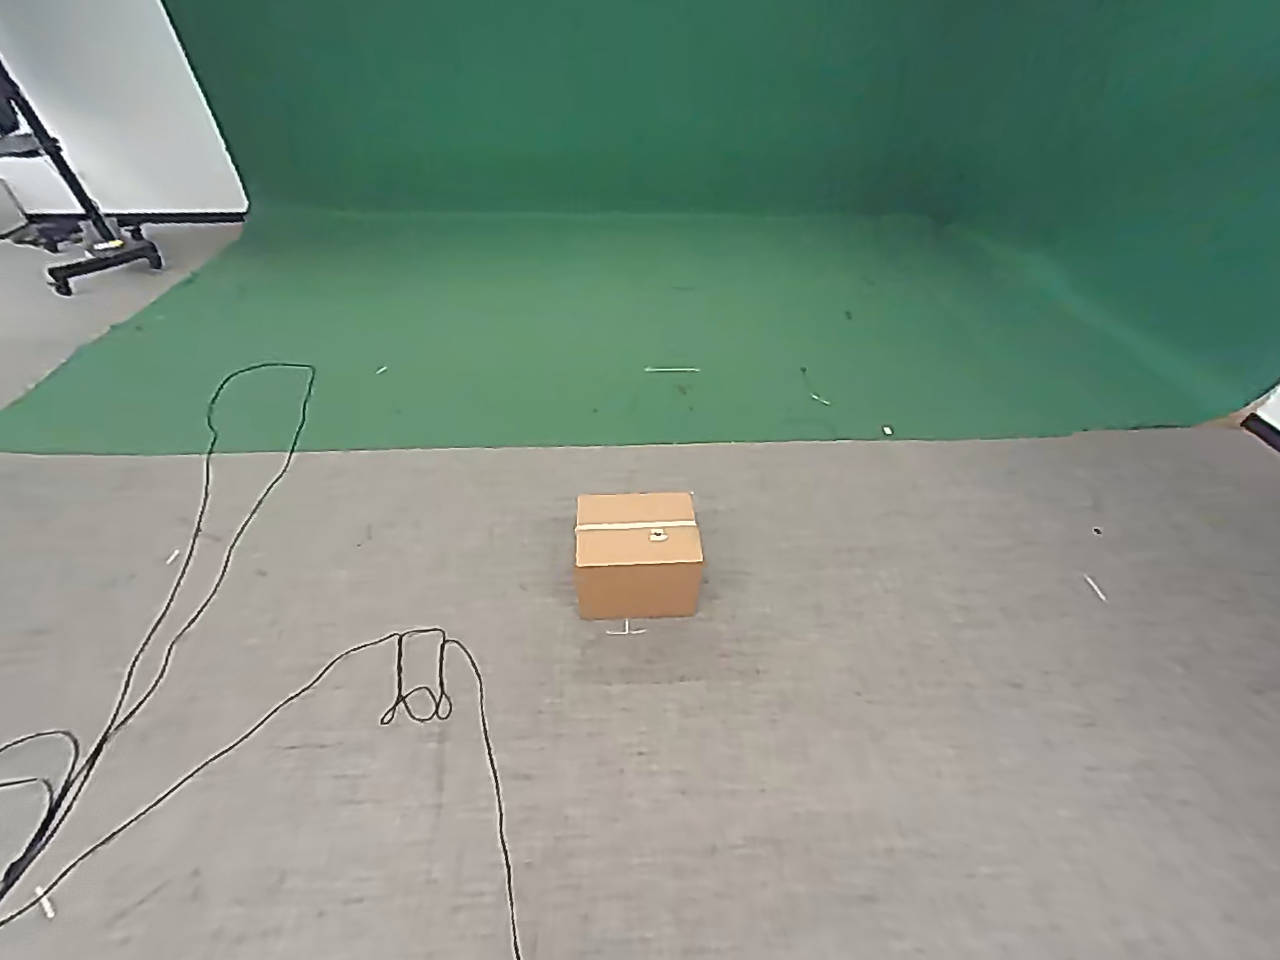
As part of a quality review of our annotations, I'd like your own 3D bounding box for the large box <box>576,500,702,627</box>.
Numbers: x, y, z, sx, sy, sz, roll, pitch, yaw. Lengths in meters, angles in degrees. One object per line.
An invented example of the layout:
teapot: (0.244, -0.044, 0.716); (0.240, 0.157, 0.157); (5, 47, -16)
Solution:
large box: (-0.016, 0.295, 1.914); (0.408, 0.320, 0.320); (-2, 43, -4)
